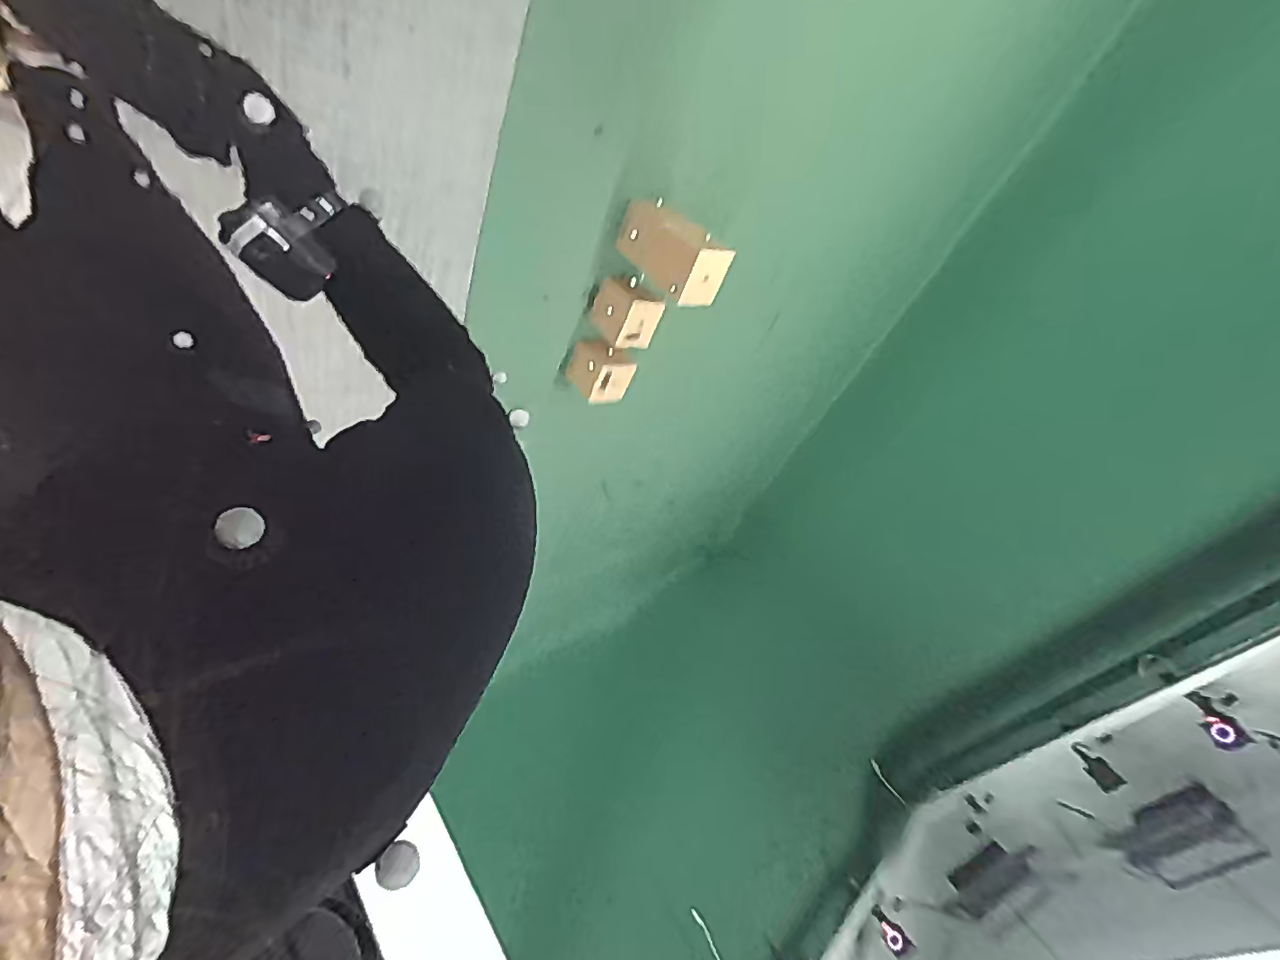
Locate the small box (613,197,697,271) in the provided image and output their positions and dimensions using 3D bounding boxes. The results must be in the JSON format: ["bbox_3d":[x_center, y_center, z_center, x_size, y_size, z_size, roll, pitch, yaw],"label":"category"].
[{"bbox_3d":[0.042,-0.781,1.728,0.179,0.176,0.168,-15,146,-41],"label":"small box"}]

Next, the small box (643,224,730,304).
[{"bbox_3d":[0.137,-0.665,1.663,0.168,0.176,0.179,-18,147,-41],"label":"small box"}]
